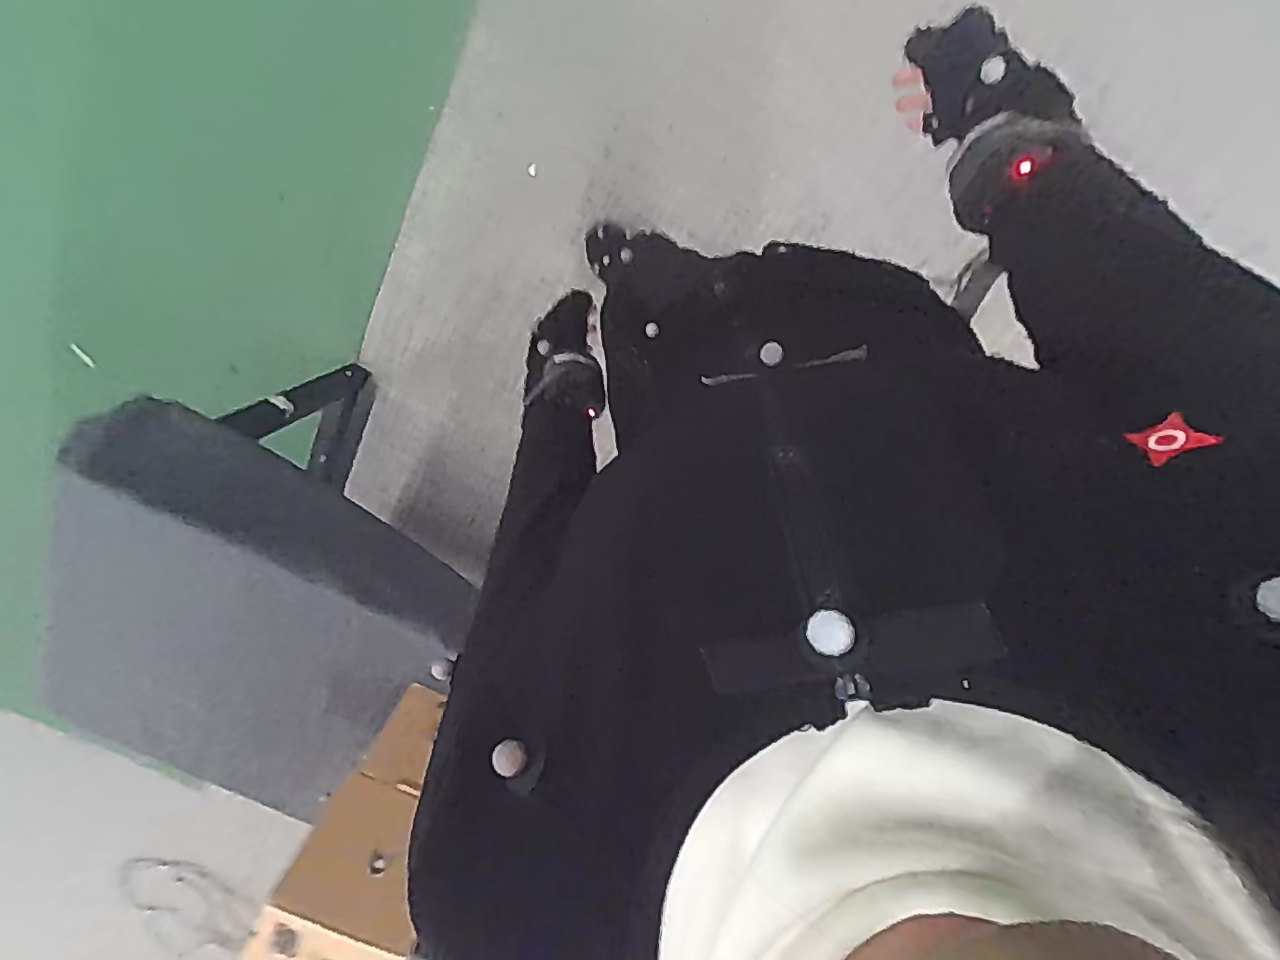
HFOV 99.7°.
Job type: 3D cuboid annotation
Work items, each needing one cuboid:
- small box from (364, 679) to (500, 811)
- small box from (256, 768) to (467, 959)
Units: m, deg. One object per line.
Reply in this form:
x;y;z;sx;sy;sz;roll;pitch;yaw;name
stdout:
-0.348;0.464;0.887;0.168;0.176;0.179;28;115;-7;small box
-0.368;0.531;0.737;0.179;0.176;0.168;28;116;-9;small box
